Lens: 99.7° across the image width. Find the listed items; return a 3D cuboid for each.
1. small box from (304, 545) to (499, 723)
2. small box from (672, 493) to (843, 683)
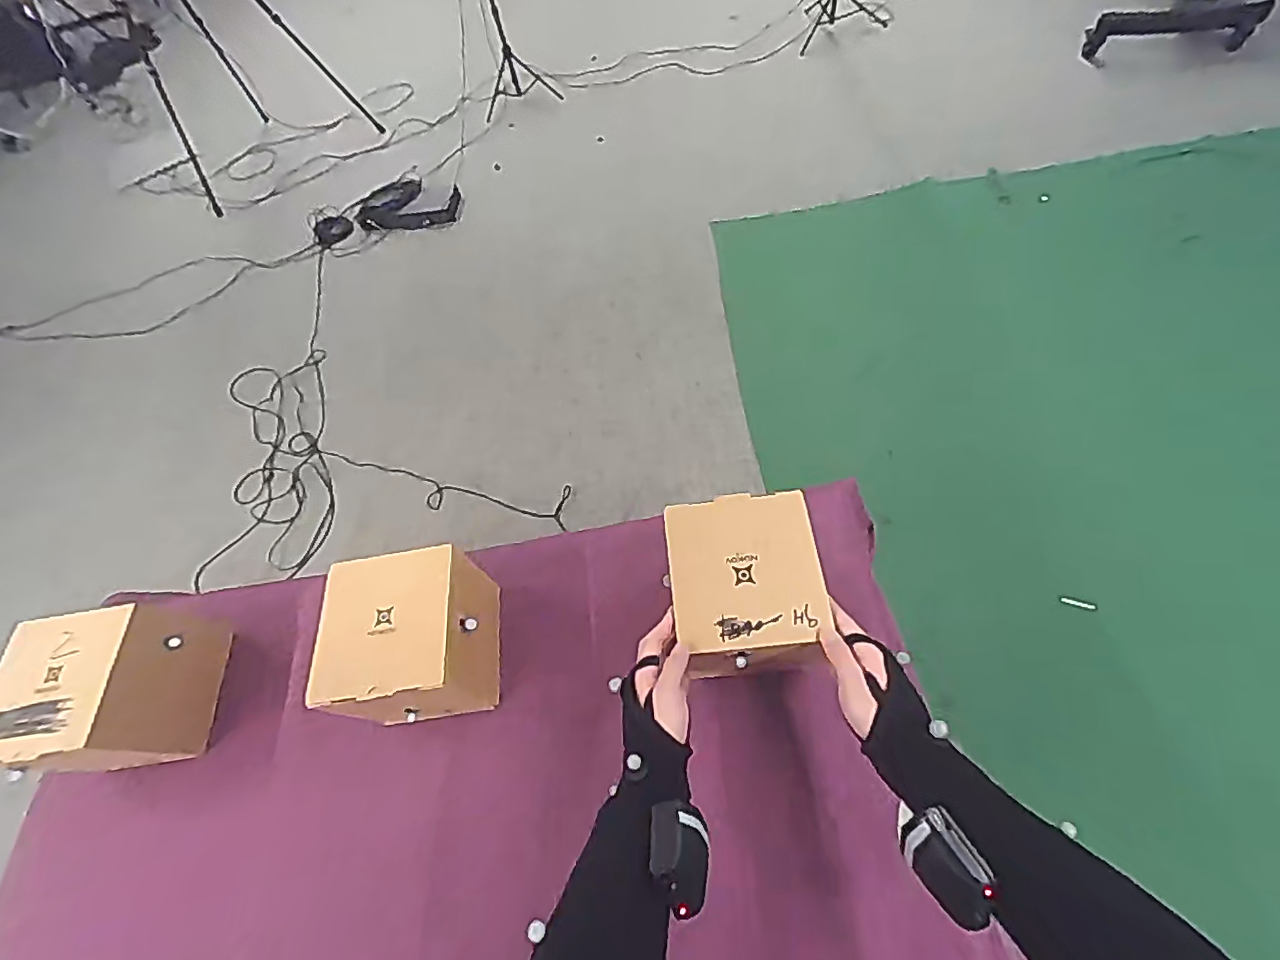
[{"bbox_3d":[-0.291,0.205,0.705,0.168,0.176,0.179,-9,59,3],"label":"small box"},{"bbox_3d":[0.130,0.137,0.659,0.168,0.176,0.179,-7,60,5],"label":"small box"}]
